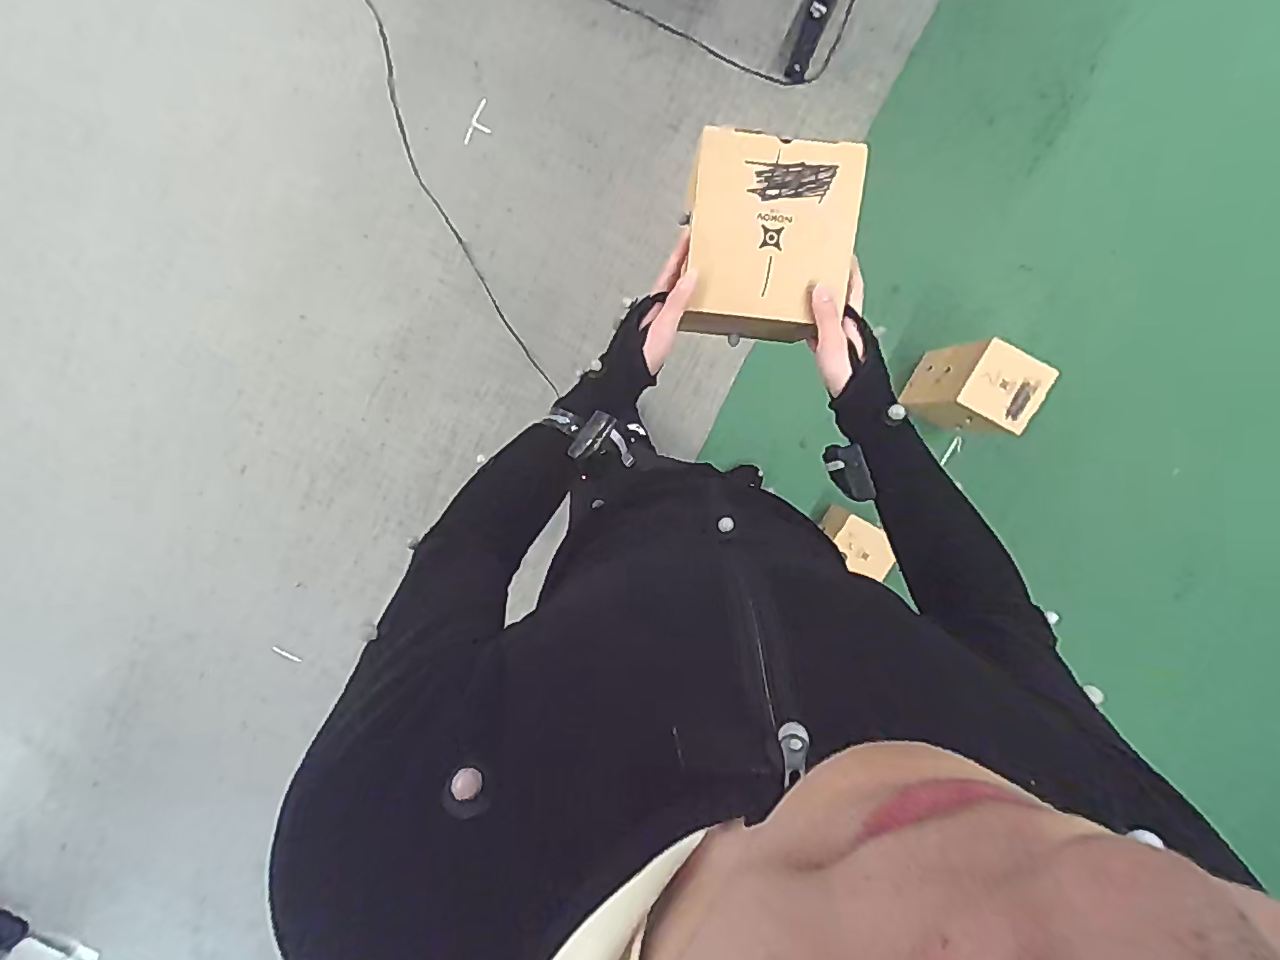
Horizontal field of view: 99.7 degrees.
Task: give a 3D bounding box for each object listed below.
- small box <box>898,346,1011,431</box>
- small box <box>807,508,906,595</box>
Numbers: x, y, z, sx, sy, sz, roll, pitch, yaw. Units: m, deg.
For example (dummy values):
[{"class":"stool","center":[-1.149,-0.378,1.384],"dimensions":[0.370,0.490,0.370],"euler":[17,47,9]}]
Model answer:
[{"class":"small box","center":[0.848,-0.243,1.481],"dimensions":[0.179,0.176,0.168],"euler":[27,97,-2]},{"class":"small box","center":[0.607,0.194,1.541],"dimensions":[0.179,0.176,0.168],"euler":[29,97,-1]}]
